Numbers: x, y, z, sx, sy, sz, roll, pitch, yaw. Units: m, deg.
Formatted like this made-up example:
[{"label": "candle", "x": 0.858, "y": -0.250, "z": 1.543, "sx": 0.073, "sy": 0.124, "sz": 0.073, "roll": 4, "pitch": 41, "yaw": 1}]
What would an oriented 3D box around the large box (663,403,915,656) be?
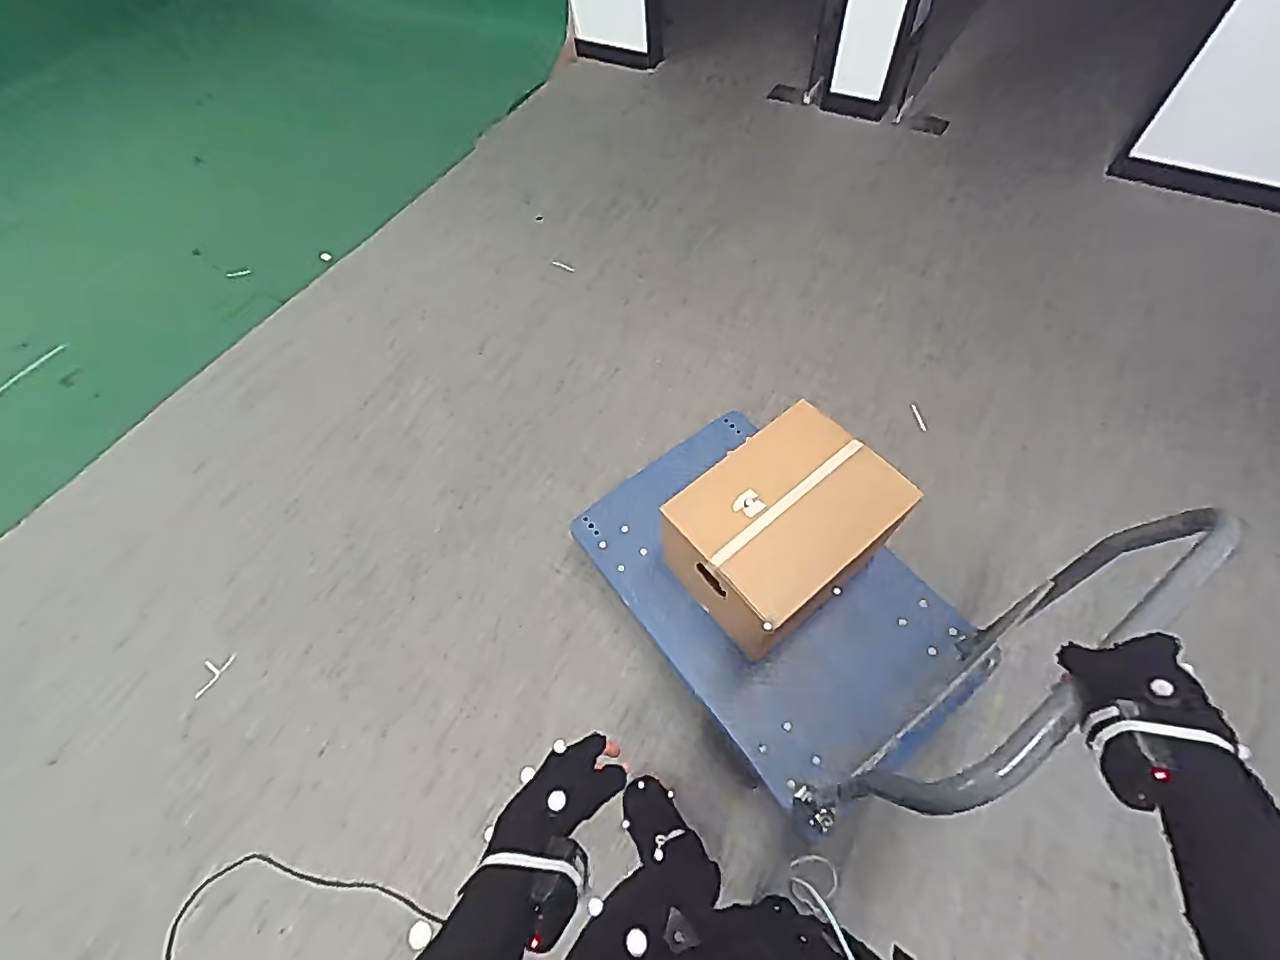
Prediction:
[{"label": "large box", "x": 0.304, "y": 0.116, "z": 1.189, "sx": 0.408, "sy": 0.320, "sz": 0.320, "roll": -38, "pitch": 63, "yaw": -13}]
